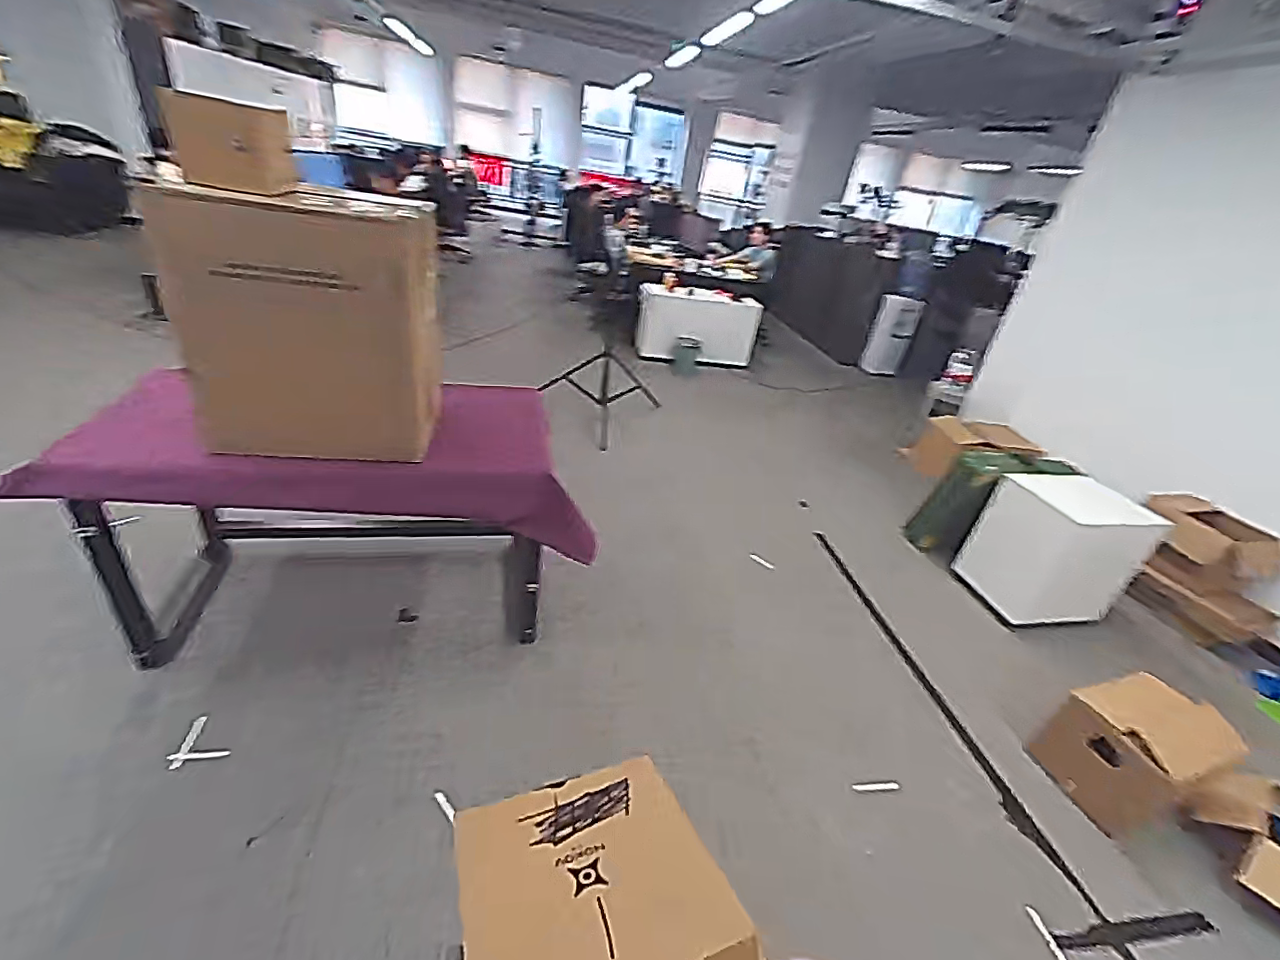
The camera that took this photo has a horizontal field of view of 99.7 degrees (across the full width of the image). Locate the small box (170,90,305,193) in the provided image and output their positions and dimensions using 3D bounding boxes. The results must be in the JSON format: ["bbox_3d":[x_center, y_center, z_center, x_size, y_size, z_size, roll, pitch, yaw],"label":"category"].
[{"bbox_3d":[-0.872,-0.739,1.195,0.179,0.176,0.168,4,30,-11],"label":"small box"}]
